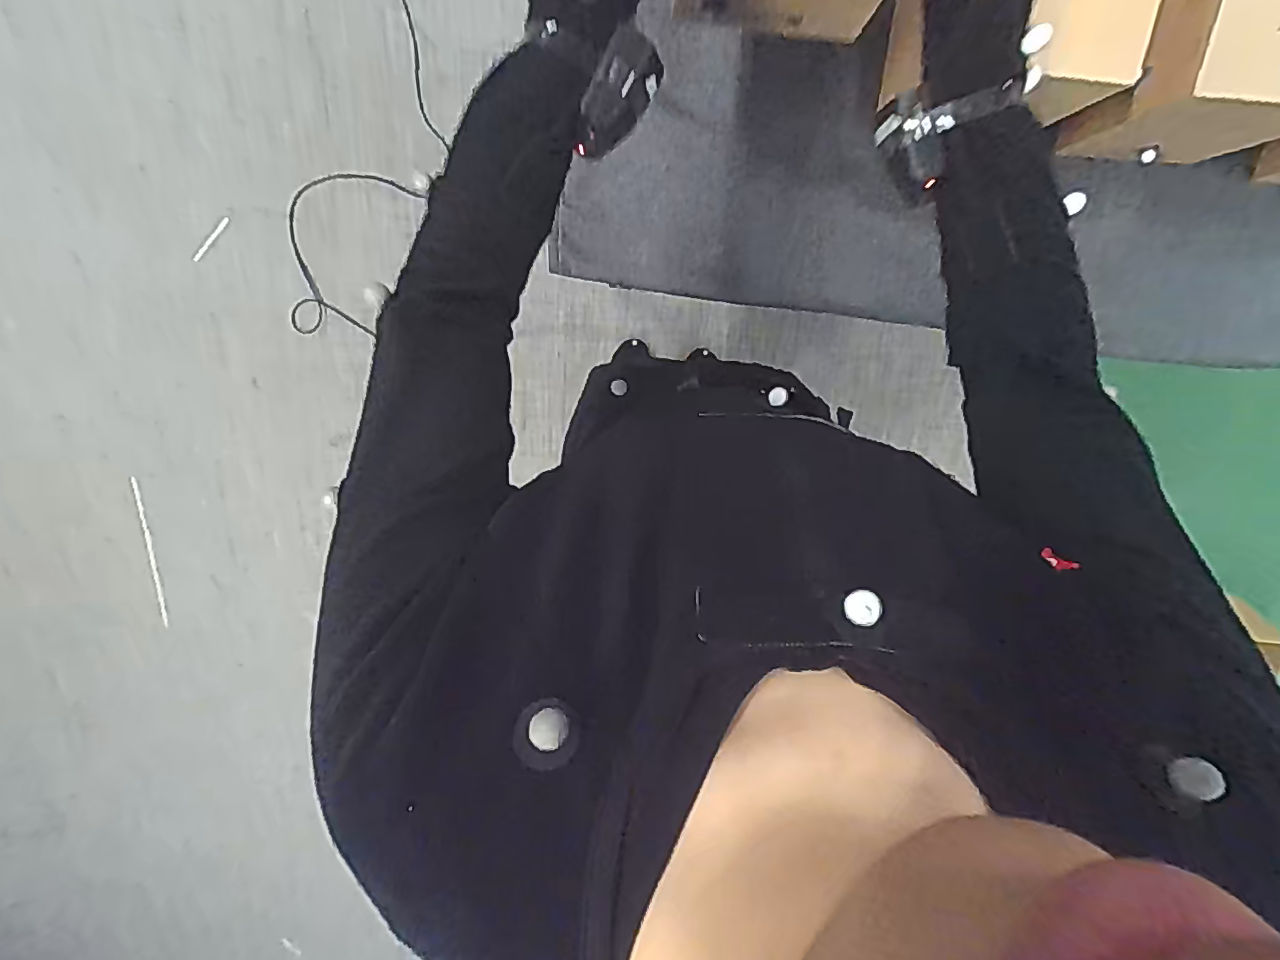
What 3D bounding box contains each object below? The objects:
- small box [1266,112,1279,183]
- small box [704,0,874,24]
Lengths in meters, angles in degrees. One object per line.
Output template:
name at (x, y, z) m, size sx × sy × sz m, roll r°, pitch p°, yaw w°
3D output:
small box at (0.807, -0.408, 0.535) m, size 0.168 × 0.176 × 0.179 m, roll 5°, pitch 105°, yaw 0°
small box at (0.120, -0.462, 0.370) m, size 0.168 × 0.176 × 0.179 m, roll 4°, pitch 101°, yaw -2°
